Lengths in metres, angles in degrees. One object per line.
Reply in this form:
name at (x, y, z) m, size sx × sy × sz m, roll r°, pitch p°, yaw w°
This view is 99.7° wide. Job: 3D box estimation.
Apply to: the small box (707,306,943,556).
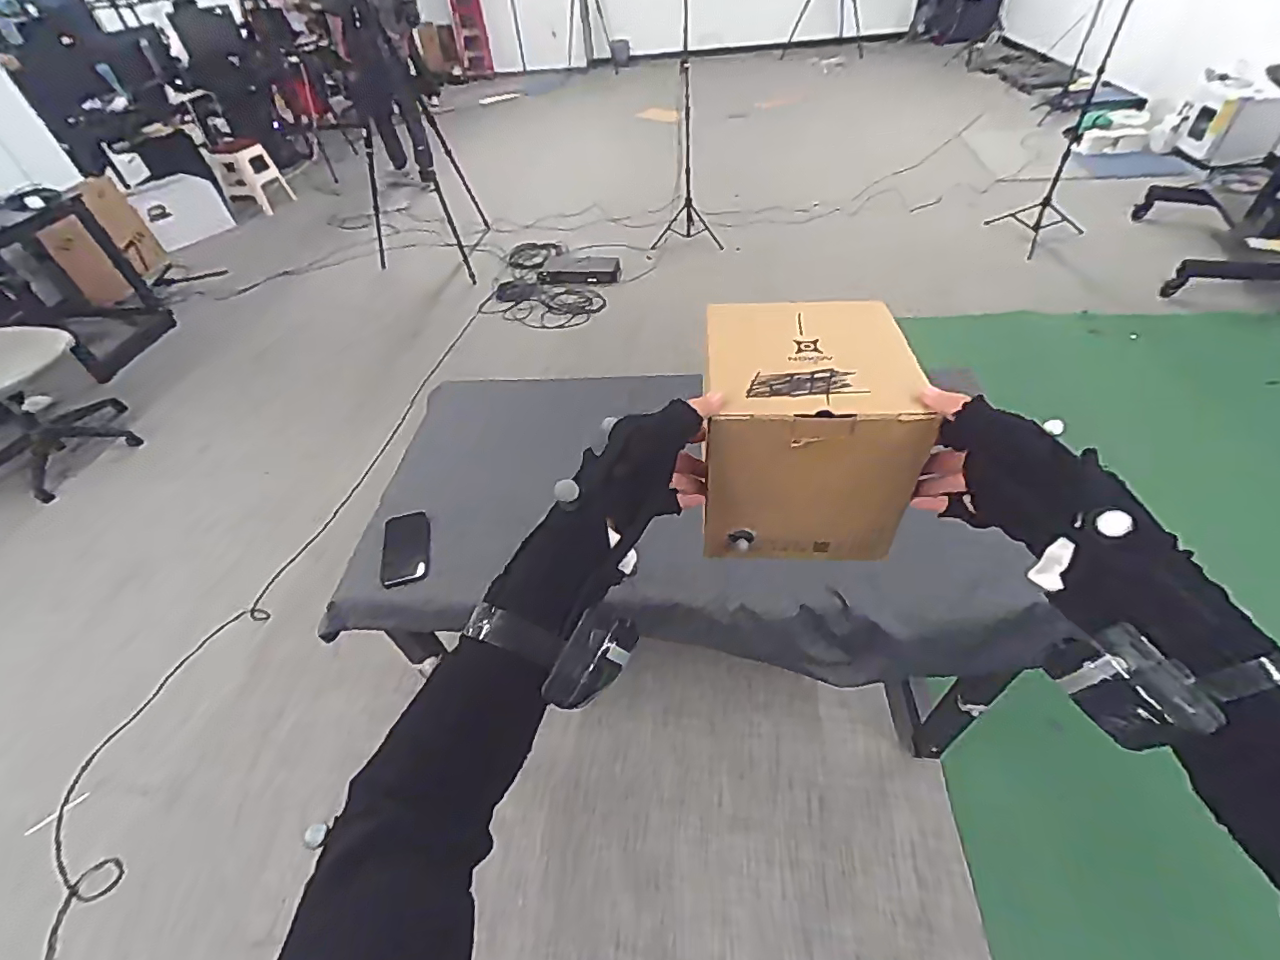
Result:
small box at (0.149, -0.044, 0.507) m, size 0.168 × 0.176 × 0.179 m, roll 1°, pitch 43°, yaw 5°
